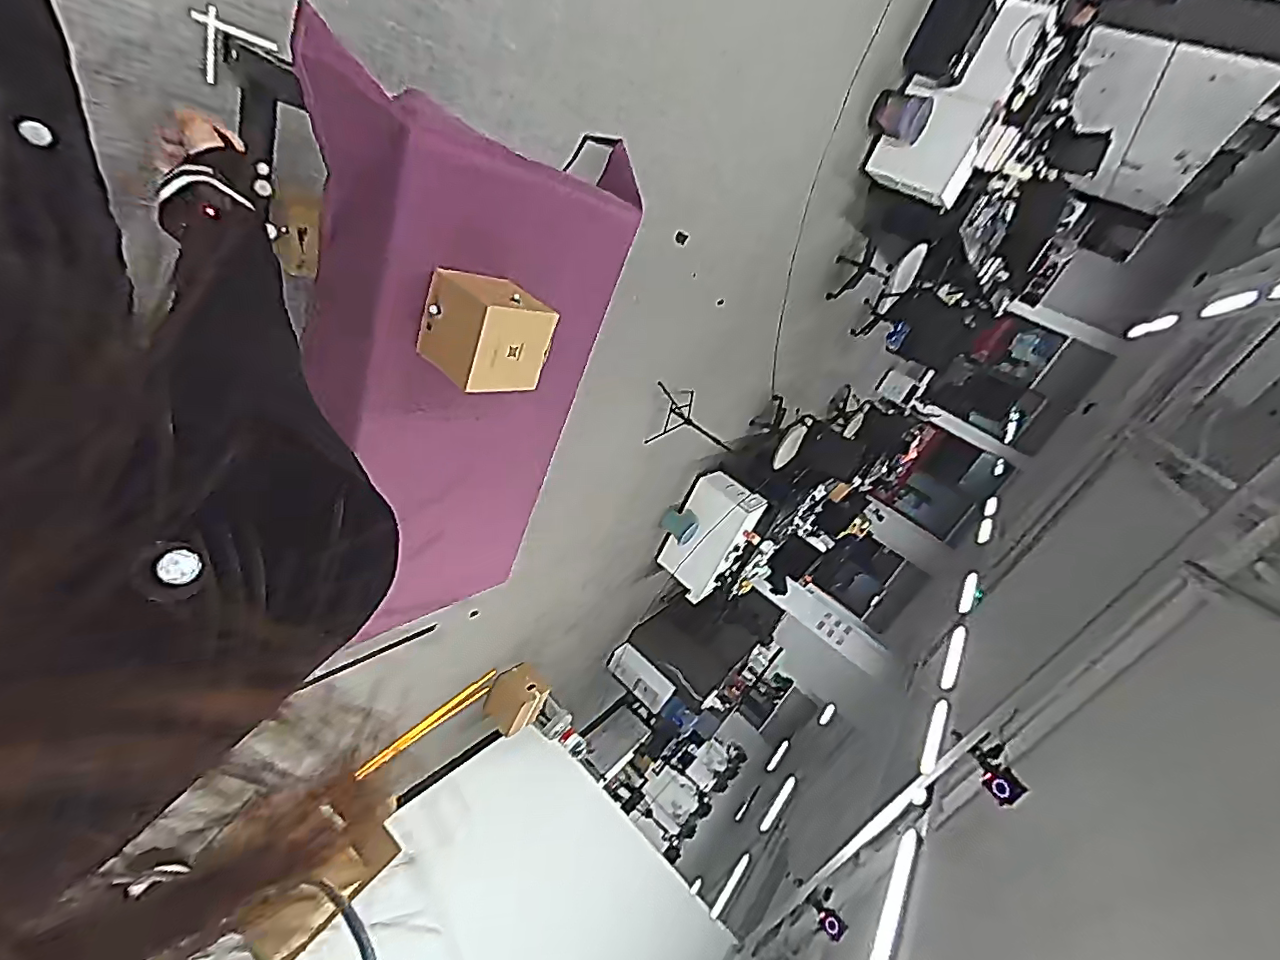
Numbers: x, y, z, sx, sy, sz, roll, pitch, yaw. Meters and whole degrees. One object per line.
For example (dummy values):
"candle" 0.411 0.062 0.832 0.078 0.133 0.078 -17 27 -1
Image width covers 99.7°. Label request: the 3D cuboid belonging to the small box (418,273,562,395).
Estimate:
"small box" -0.288 -0.276 1.032 0.179 0.176 0.168 -15 137 -53
